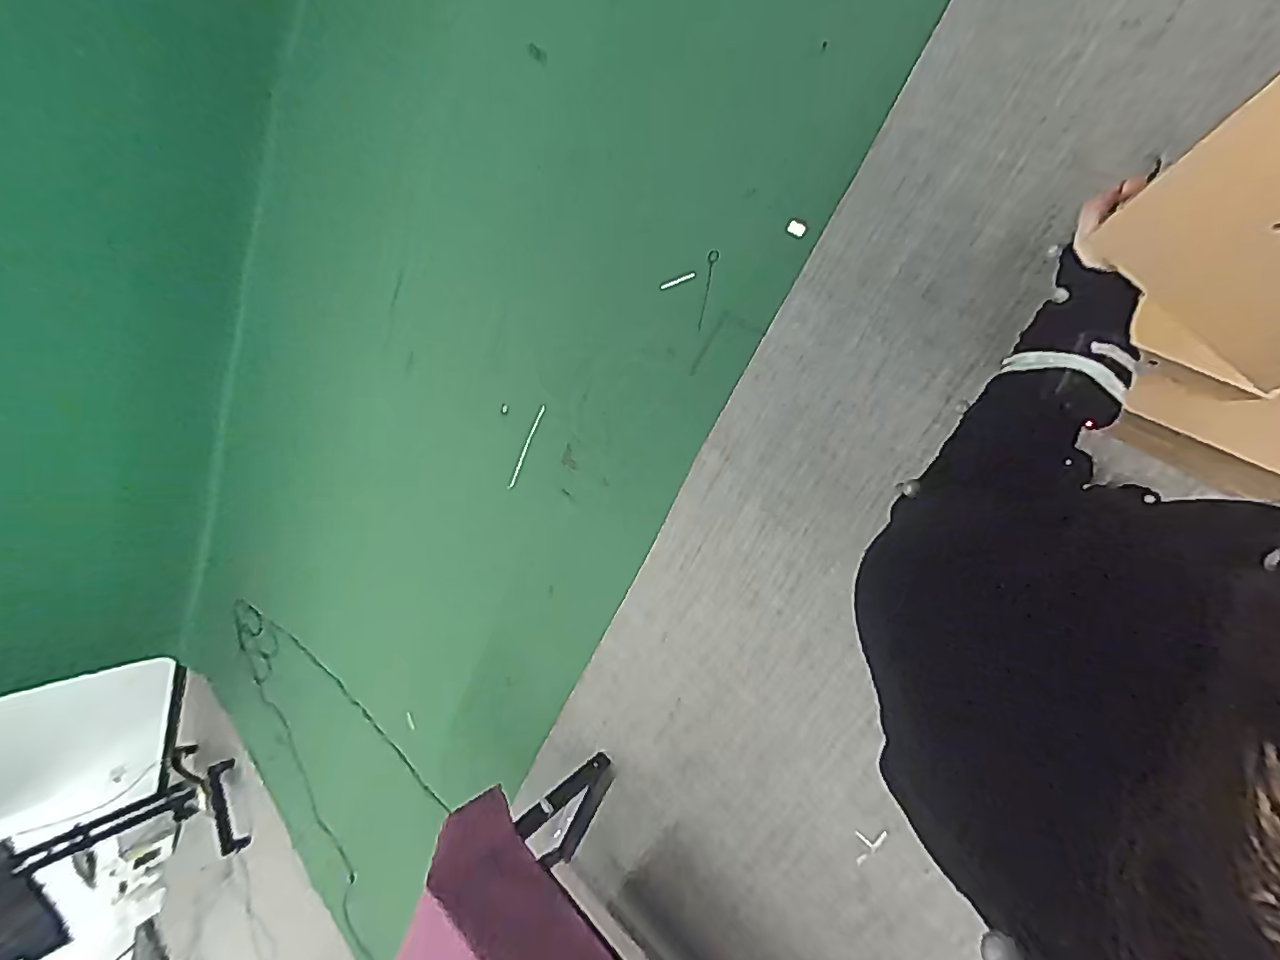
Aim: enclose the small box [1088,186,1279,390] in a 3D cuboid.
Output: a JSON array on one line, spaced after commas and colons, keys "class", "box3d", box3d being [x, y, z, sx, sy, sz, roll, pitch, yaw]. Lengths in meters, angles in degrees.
[{"class": "small box", "box3d": [0.707, -0.223, 0.674, 0.168, 0.176, 0.179, 37, 114, 23]}]
